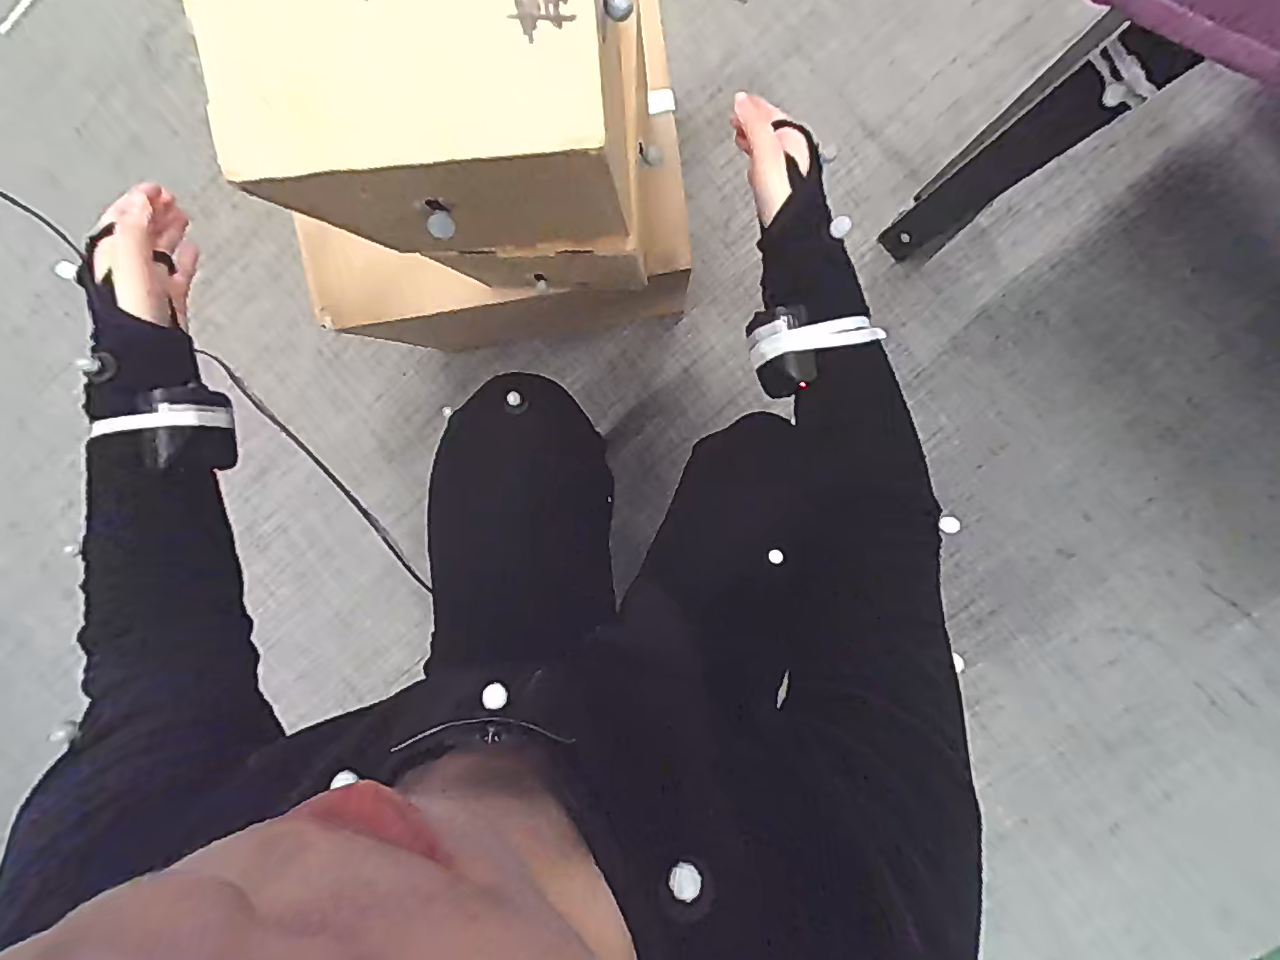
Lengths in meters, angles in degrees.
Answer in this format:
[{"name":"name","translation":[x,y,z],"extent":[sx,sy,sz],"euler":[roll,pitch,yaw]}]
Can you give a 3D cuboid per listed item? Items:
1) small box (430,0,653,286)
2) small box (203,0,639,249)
[{"name":"small box","translation":[-0.075,-0.270,0.462],"extent":[0.168,0.176,0.179],"euler":[1,104,3]},{"name":"small box","translation":[-0.098,-0.235,0.302],"extent":[0.179,0.176,0.168],"euler":[-3,104,4]}]
